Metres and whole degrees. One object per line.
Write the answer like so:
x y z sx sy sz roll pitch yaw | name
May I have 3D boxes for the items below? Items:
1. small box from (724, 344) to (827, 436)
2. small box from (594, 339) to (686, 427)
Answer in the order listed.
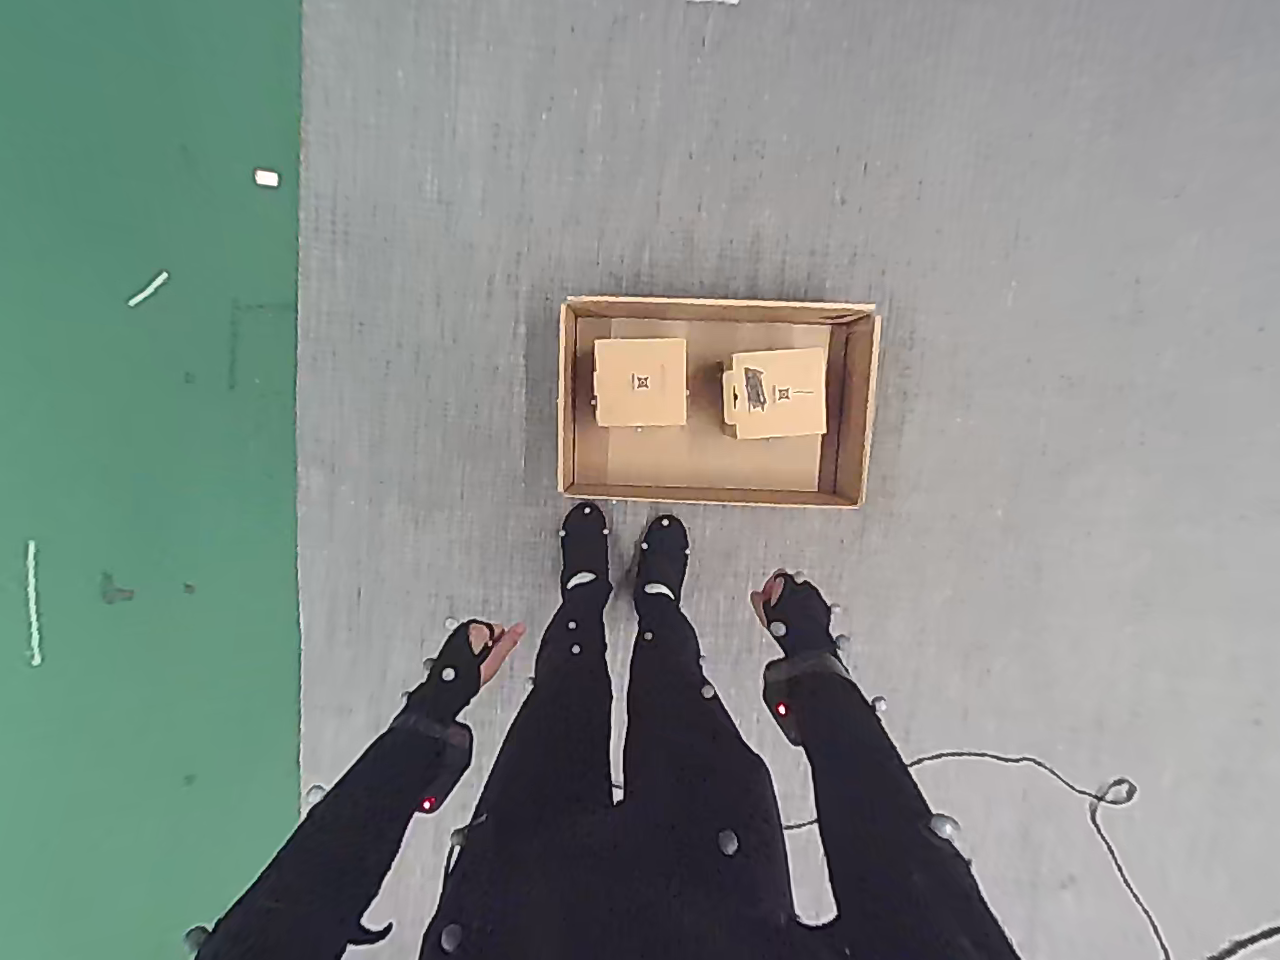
0.268 -0.178 1.104 0.179 0.176 0.168 -5 98 2 | small box
0.002 -0.194 1.108 0.179 0.176 0.168 -2 99 0 | small box
